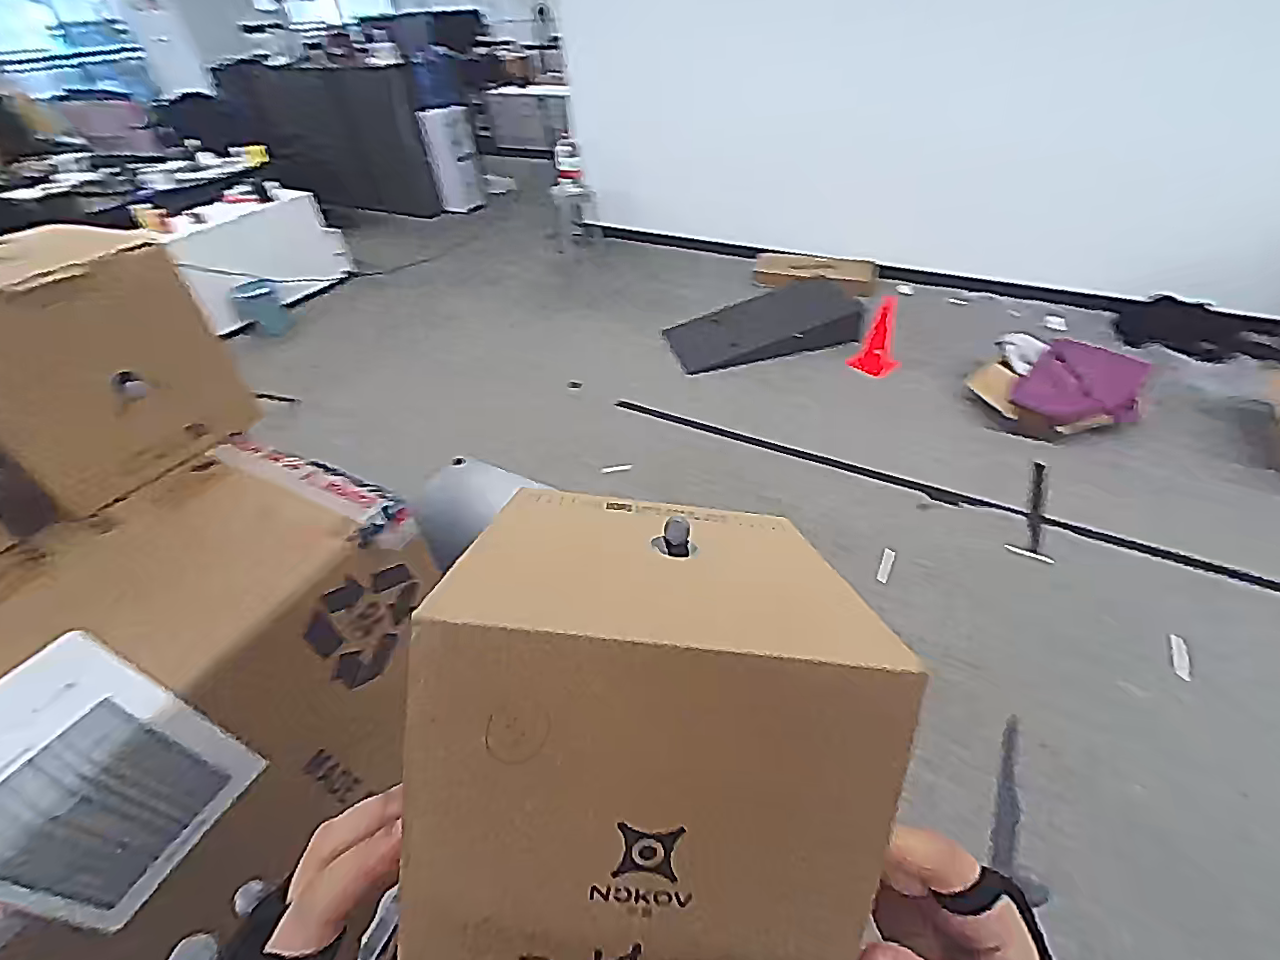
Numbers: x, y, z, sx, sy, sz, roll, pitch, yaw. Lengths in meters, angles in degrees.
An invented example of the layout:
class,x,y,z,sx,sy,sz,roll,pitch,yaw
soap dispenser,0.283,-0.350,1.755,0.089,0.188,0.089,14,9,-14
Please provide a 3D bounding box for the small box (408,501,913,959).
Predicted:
class,x,y,z,sx,sy,sz,roll,pitch,yaw
small box,0.001,0.117,0.273,0.168,0.179,0.176,7,12,-1
